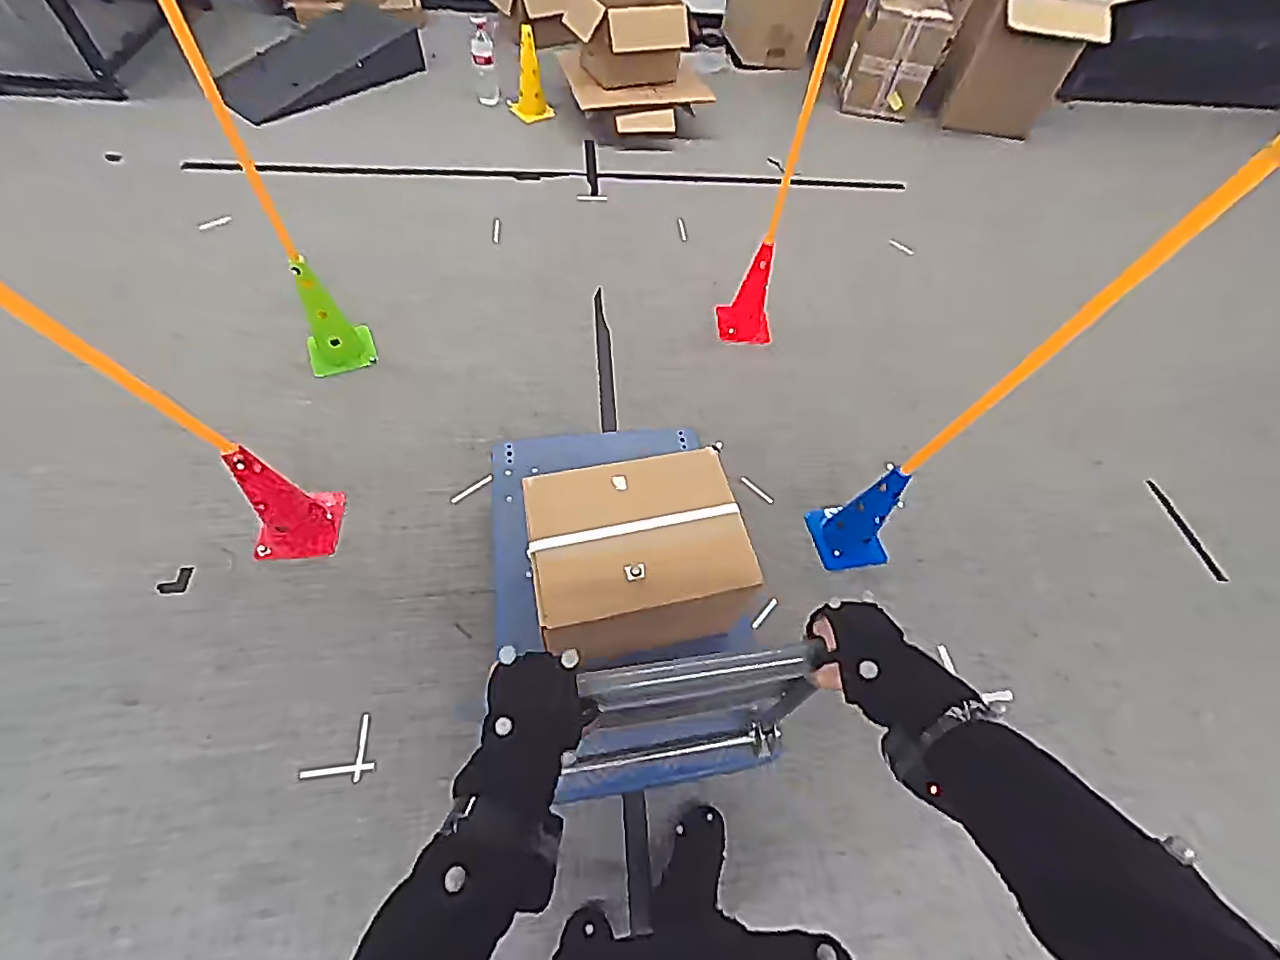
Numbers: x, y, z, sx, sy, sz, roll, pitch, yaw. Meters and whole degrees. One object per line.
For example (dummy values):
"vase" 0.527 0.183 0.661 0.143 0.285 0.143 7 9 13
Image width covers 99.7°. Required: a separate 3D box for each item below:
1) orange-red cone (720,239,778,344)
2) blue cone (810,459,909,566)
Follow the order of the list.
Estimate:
"orange-red cone" 0.423 -0.689 1.927 0.199 0.360 0.198 4 58 -4
"blue cone" 0.633 0.074 1.476 0.193 0.380 0.192 -5 57 -10
